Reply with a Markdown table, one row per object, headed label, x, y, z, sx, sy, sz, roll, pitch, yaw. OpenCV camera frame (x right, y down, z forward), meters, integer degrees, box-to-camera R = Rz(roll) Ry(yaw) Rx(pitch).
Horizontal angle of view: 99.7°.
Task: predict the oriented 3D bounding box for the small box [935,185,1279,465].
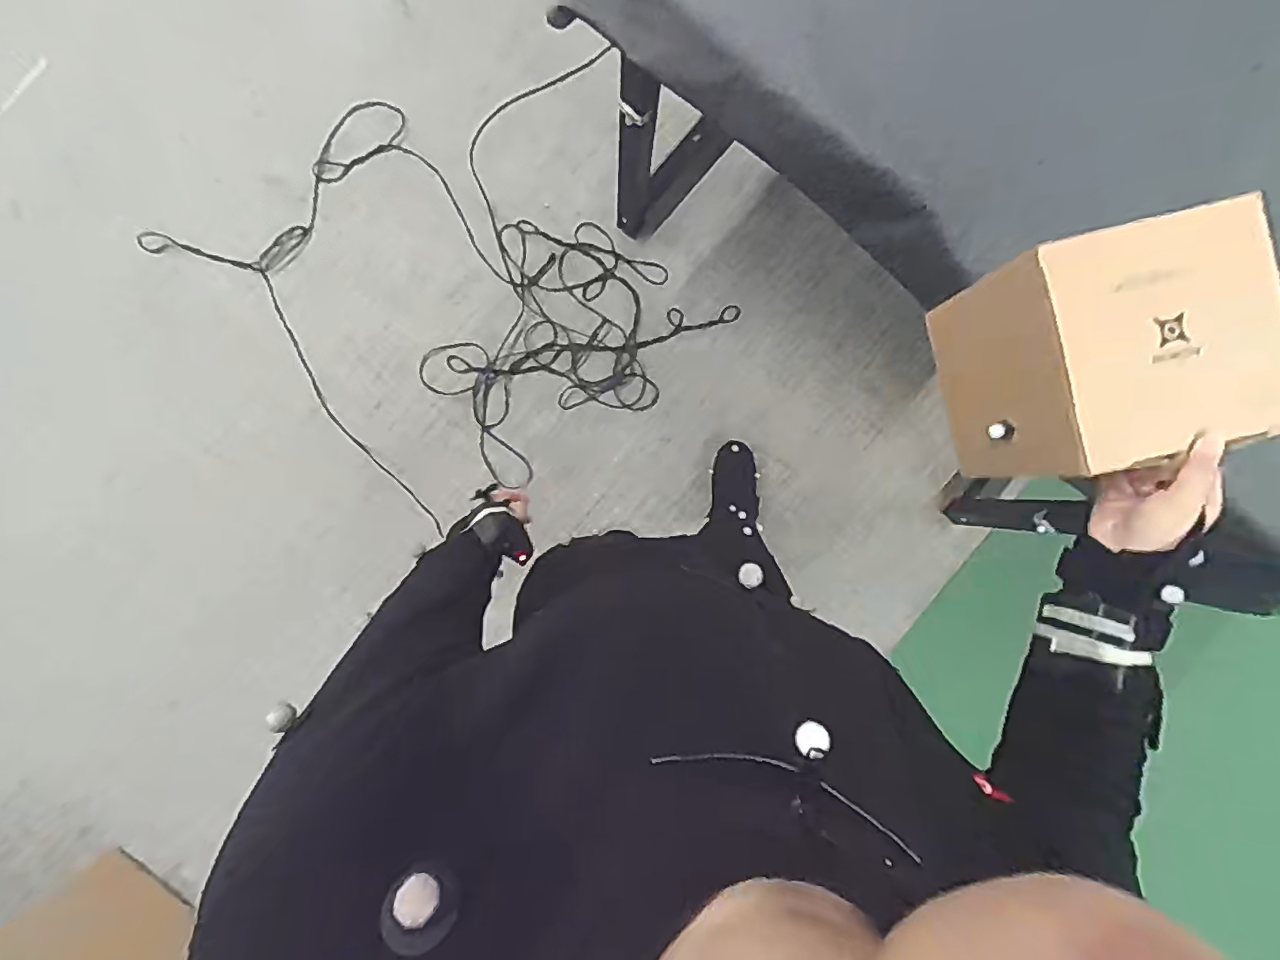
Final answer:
| label | x | y | z | sx | sy | sz | roll | pitch | yaw |
| --- | --- | --- | --- | --- | --- | --- | --- | --- | --- |
| small box | 0.395 | -0.114 | 0.473 | 0.168 | 0.176 | 0.179 | -13 | 89 | 1 |

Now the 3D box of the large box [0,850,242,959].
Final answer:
| label | x | y | z | sx | sy | sz | roll | pitch | yaw |
| --- | --- | --- | --- | --- | --- | --- | --- | --- | --- |
| large box | -1.177 | 1.105 | 1.126 | 0.408 | 0.320 | 0.320 | 40 | 86 | -1 |
